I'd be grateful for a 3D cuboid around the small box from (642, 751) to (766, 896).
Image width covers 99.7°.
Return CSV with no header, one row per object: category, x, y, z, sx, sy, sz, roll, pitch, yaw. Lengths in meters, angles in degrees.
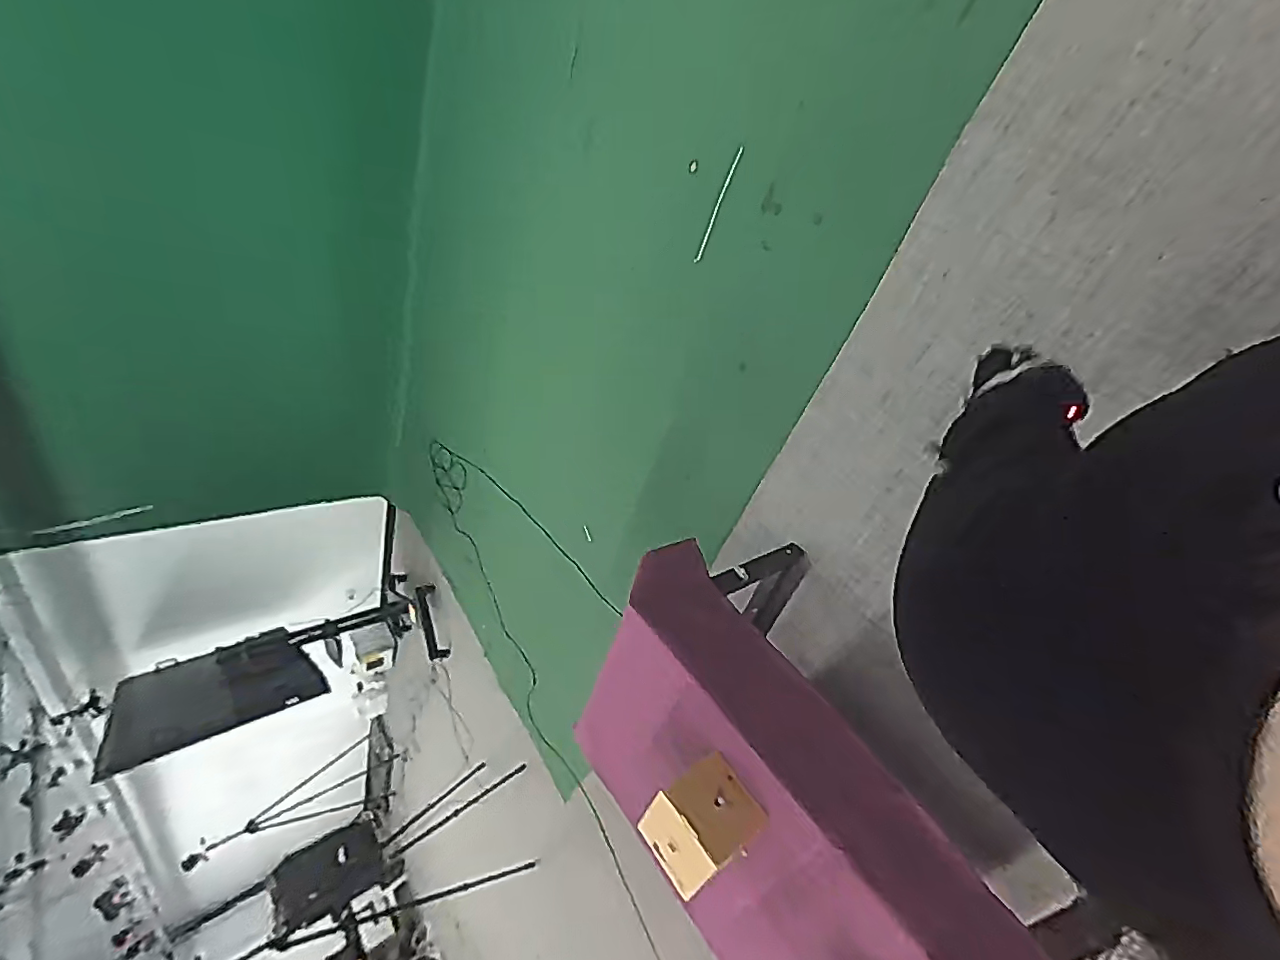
small box,0.139,0.715,1.142,0.168,0.176,0.179,45,129,32
